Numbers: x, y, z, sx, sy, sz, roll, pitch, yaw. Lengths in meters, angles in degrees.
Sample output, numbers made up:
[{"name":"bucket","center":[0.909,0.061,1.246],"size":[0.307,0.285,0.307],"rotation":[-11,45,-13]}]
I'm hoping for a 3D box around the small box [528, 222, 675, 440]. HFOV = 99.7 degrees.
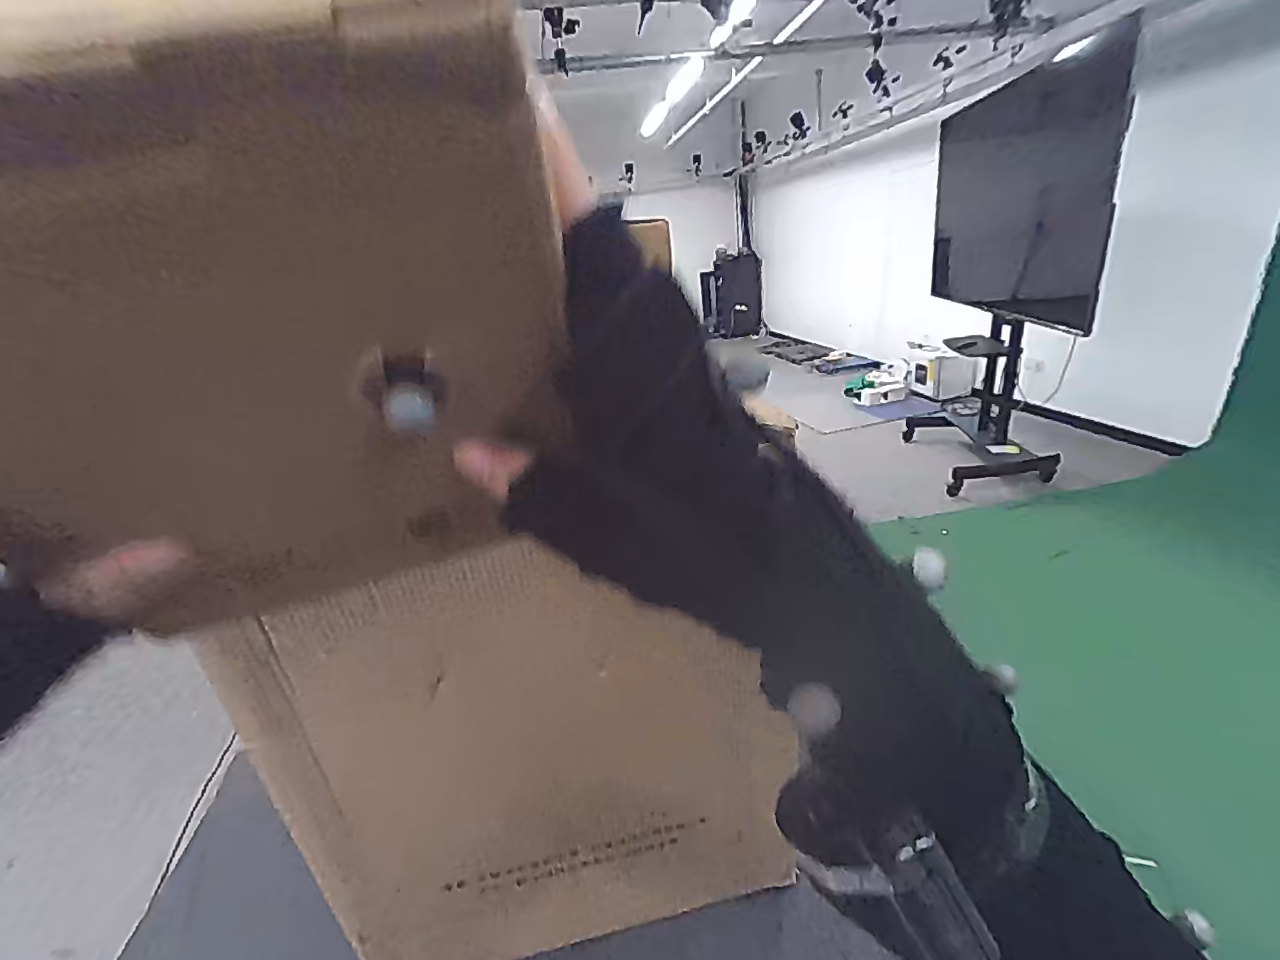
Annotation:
[{"name":"small box","center":[-0.068,-0.139,0.504],"size":[0.179,0.176,0.168],"rotation":[-9,25,-8]}]
